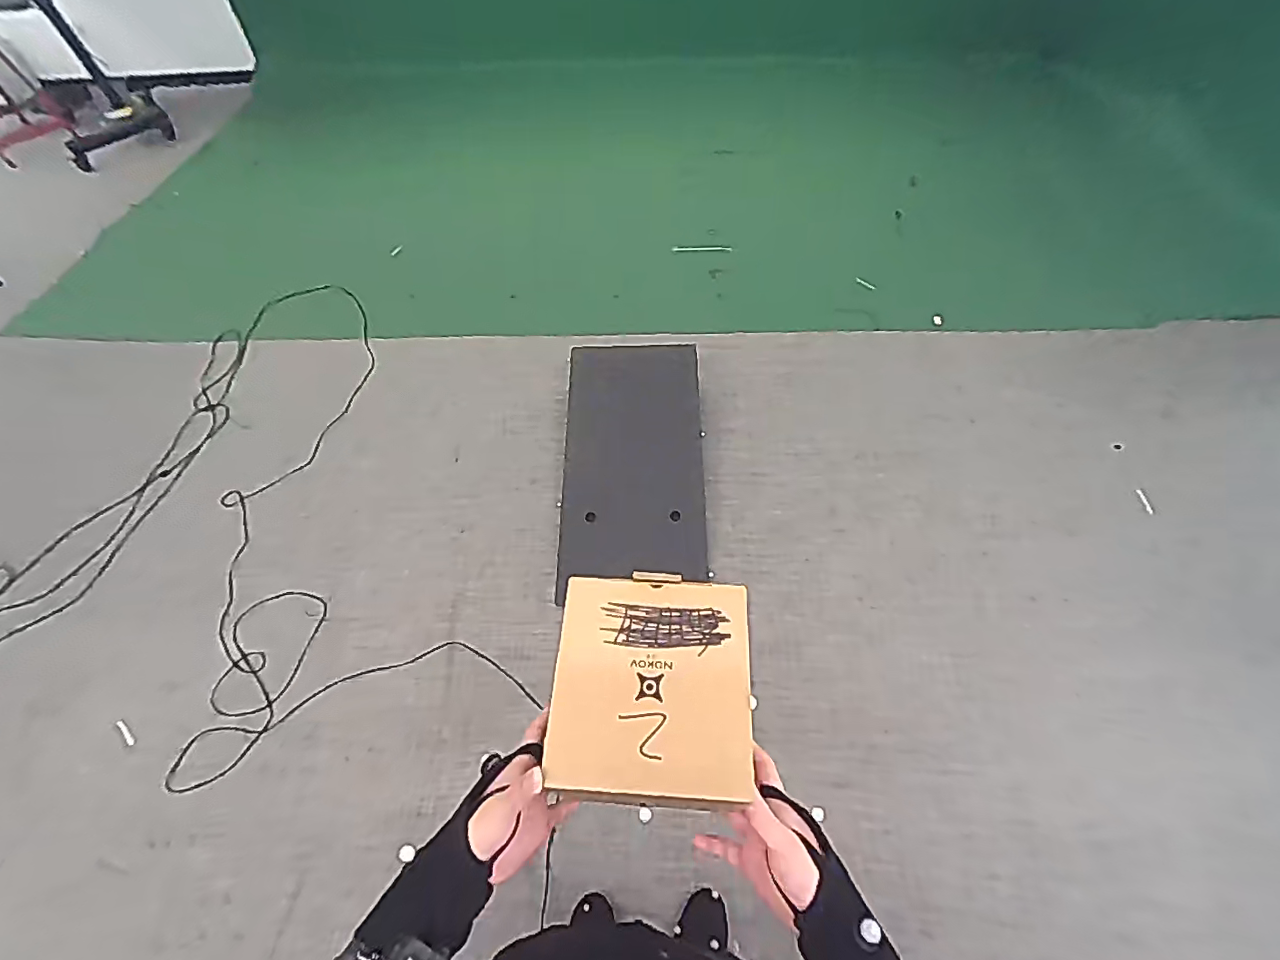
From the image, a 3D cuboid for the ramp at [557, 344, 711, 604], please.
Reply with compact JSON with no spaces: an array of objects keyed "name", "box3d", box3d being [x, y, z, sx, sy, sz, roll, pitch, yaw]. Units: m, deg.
[{"name":"ramp","box3d":[-0.017,-0.067,1.894,0.509,0.206,0.991,-2,55,0]}]
